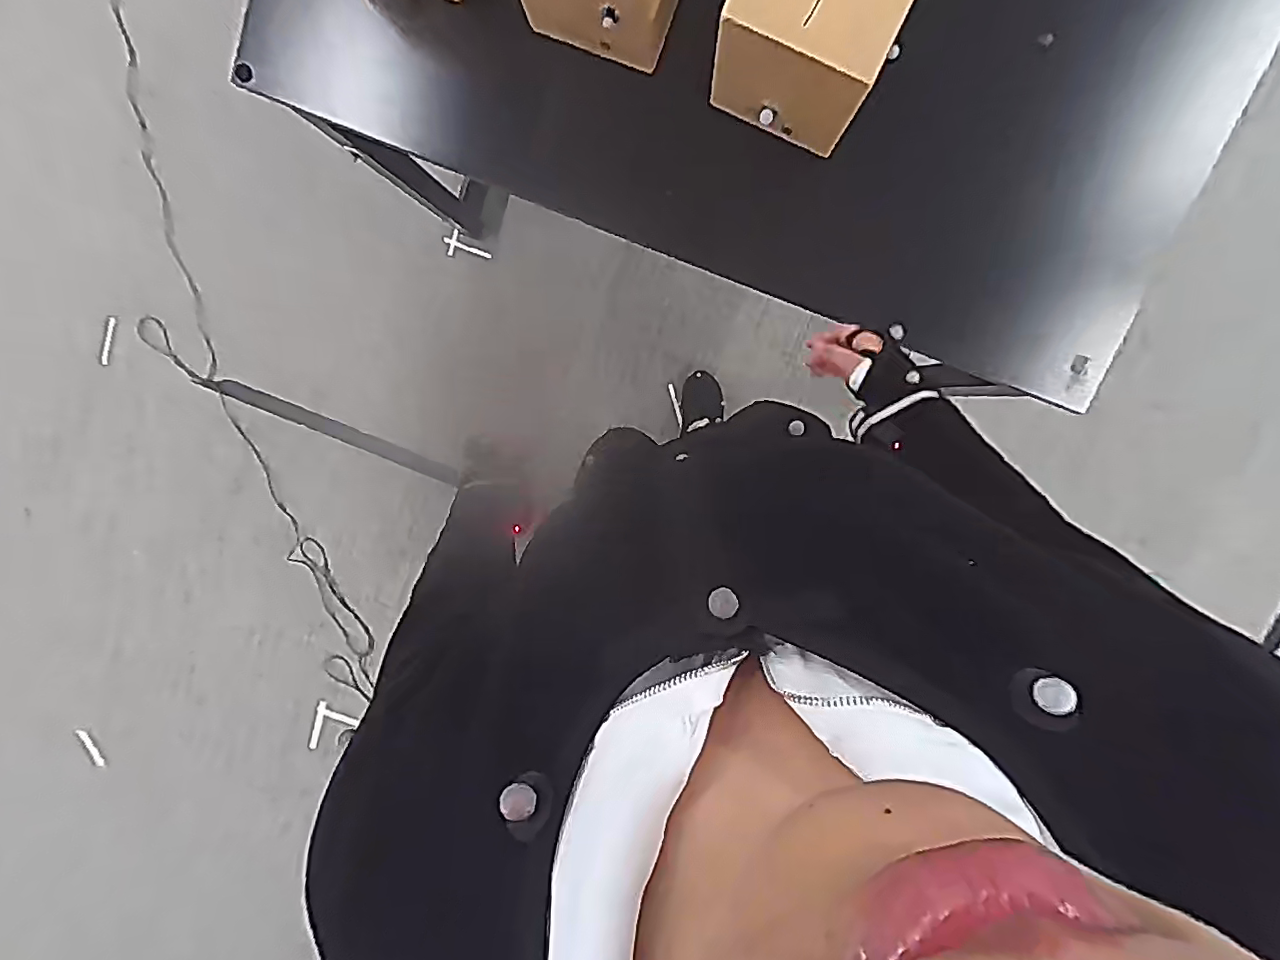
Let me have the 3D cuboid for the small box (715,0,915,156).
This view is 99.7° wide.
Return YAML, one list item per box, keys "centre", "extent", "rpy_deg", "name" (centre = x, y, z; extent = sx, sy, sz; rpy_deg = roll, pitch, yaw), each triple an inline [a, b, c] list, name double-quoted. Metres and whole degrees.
- centre: [0.191, -0.504, 0.592]
  extent: [0.168, 0.176, 0.179]
  rpy_deg: [25, 100, -1]
  name: "small box"

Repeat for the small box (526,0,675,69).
- centre: [-0.036, -0.606, 0.591]
  extent: [0.168, 0.176, 0.179]
  rpy_deg: [20, 98, -1]
  name: "small box"
